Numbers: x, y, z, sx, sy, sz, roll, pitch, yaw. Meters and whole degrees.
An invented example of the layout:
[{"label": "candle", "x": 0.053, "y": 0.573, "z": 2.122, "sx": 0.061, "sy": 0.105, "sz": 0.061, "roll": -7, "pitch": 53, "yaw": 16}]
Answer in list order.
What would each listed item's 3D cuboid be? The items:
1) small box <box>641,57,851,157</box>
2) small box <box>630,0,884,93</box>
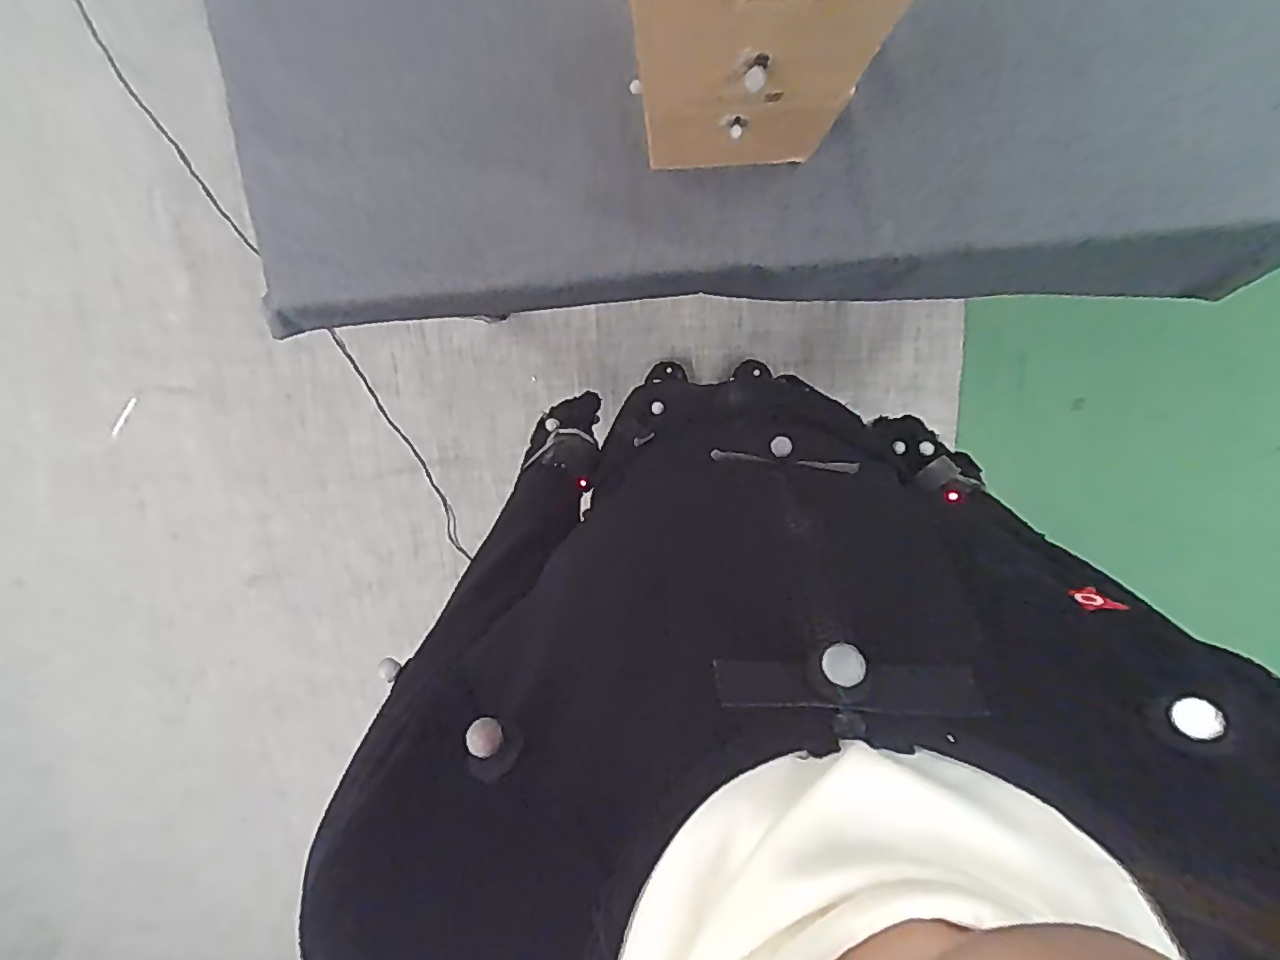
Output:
[{"label": "small box", "x": 0.092, "y": -0.427, "z": 0.516, "sx": 0.179, "sy": 0.176, "sz": 0.168, "roll": -1, "pitch": 104, "yaw": 3}, {"label": "small box", "x": 0.078, "y": -0.385, "z": 0.358, "sx": 0.168, "sy": 0.176, "sz": 0.179, "roll": -1, "pitch": 105, "yaw": 4}]
